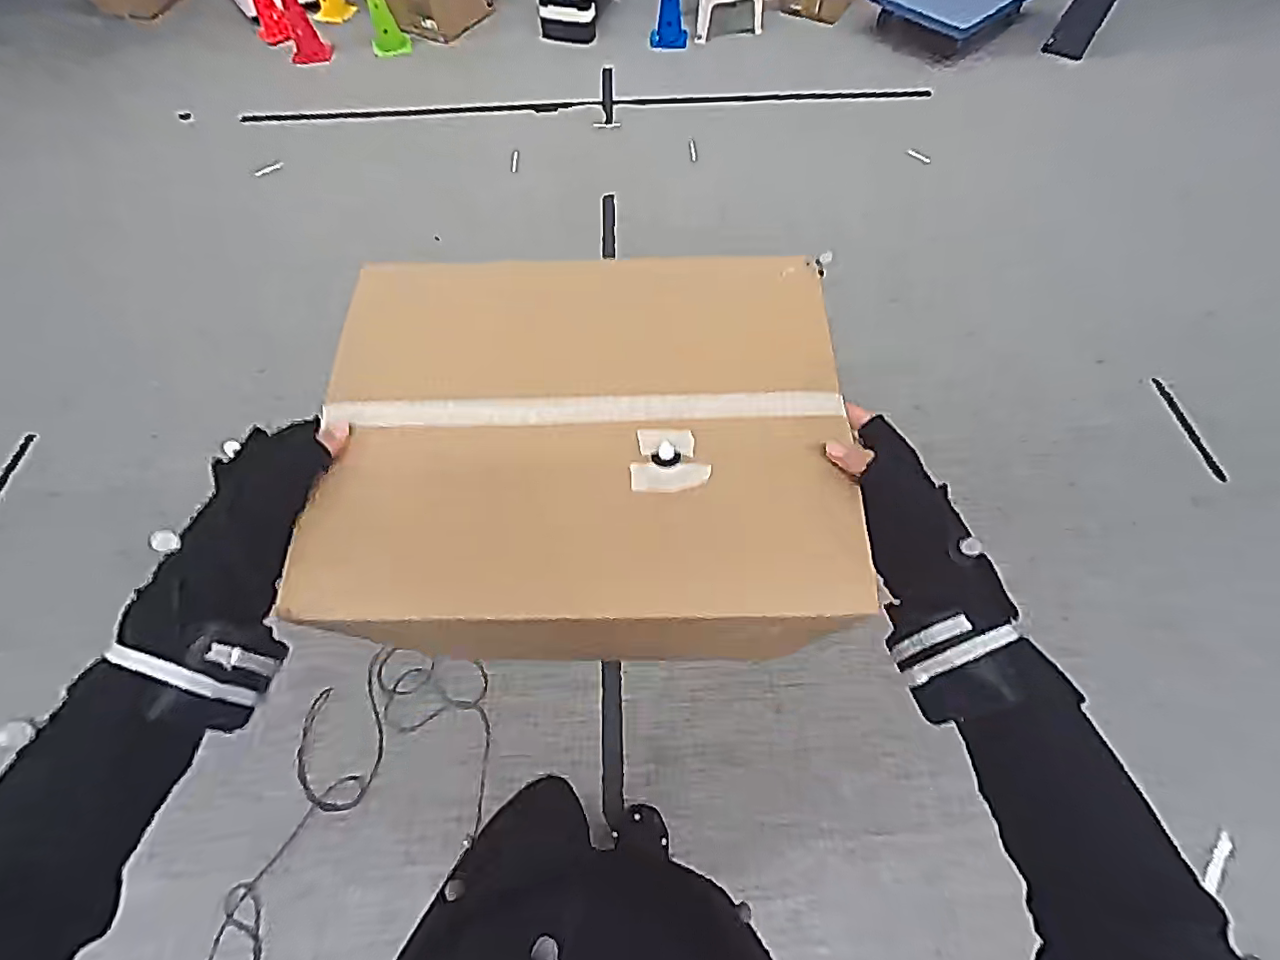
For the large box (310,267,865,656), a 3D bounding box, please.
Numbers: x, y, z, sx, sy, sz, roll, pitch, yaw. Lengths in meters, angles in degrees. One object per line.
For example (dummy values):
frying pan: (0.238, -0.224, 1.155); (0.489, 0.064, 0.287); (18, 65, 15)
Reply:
large box: (-0.039, 0.007, 0.575); (0.408, 0.320, 0.320); (-1, 67, 1)
